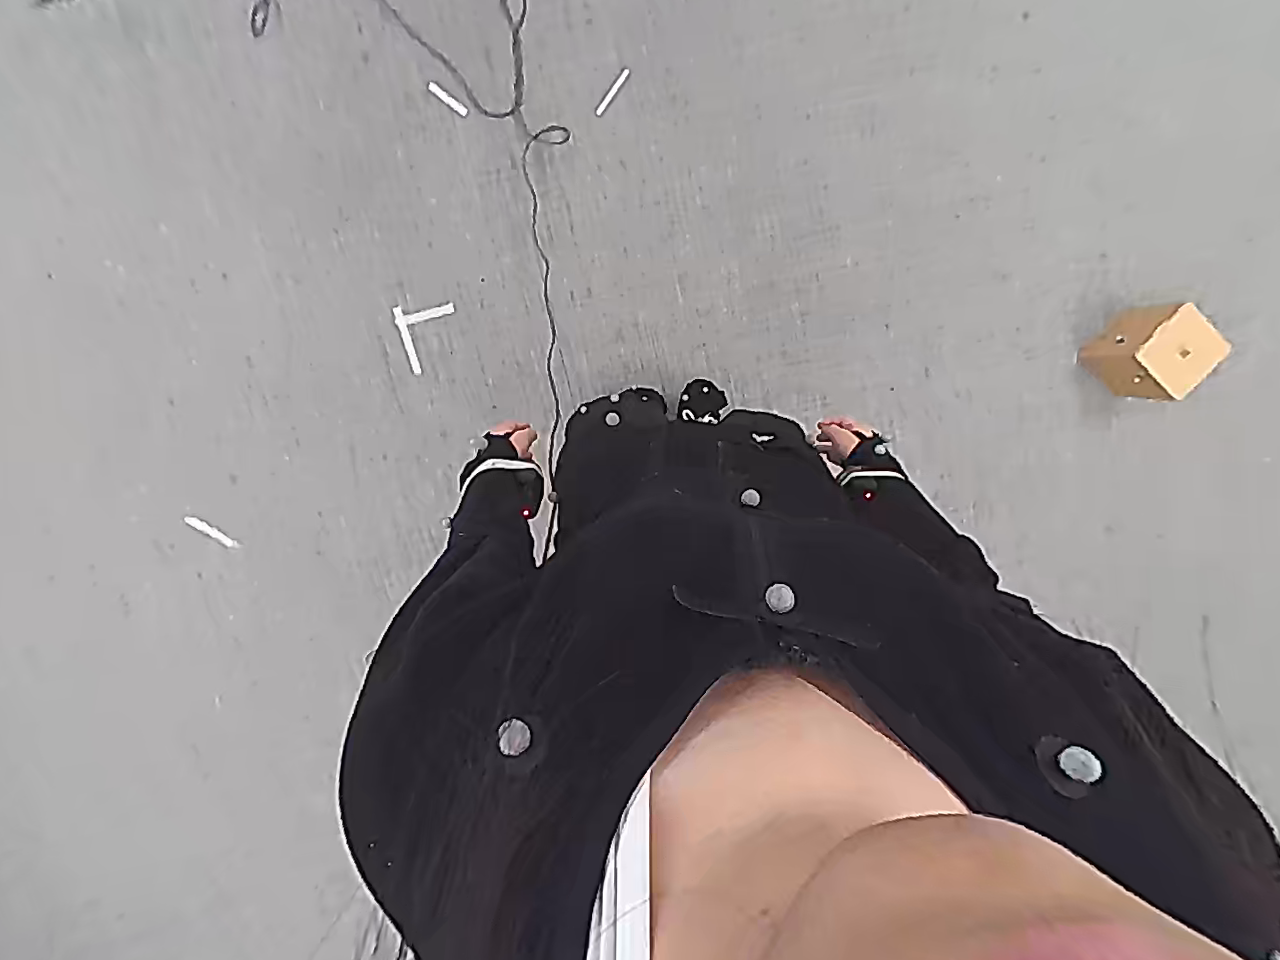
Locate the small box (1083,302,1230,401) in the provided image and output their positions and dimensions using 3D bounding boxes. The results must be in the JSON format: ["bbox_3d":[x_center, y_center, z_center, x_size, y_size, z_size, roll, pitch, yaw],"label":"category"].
[{"bbox_3d":[1.292,-0.320,1.368,0.179,0.176,0.168,40,100,-9],"label":"small box"}]
